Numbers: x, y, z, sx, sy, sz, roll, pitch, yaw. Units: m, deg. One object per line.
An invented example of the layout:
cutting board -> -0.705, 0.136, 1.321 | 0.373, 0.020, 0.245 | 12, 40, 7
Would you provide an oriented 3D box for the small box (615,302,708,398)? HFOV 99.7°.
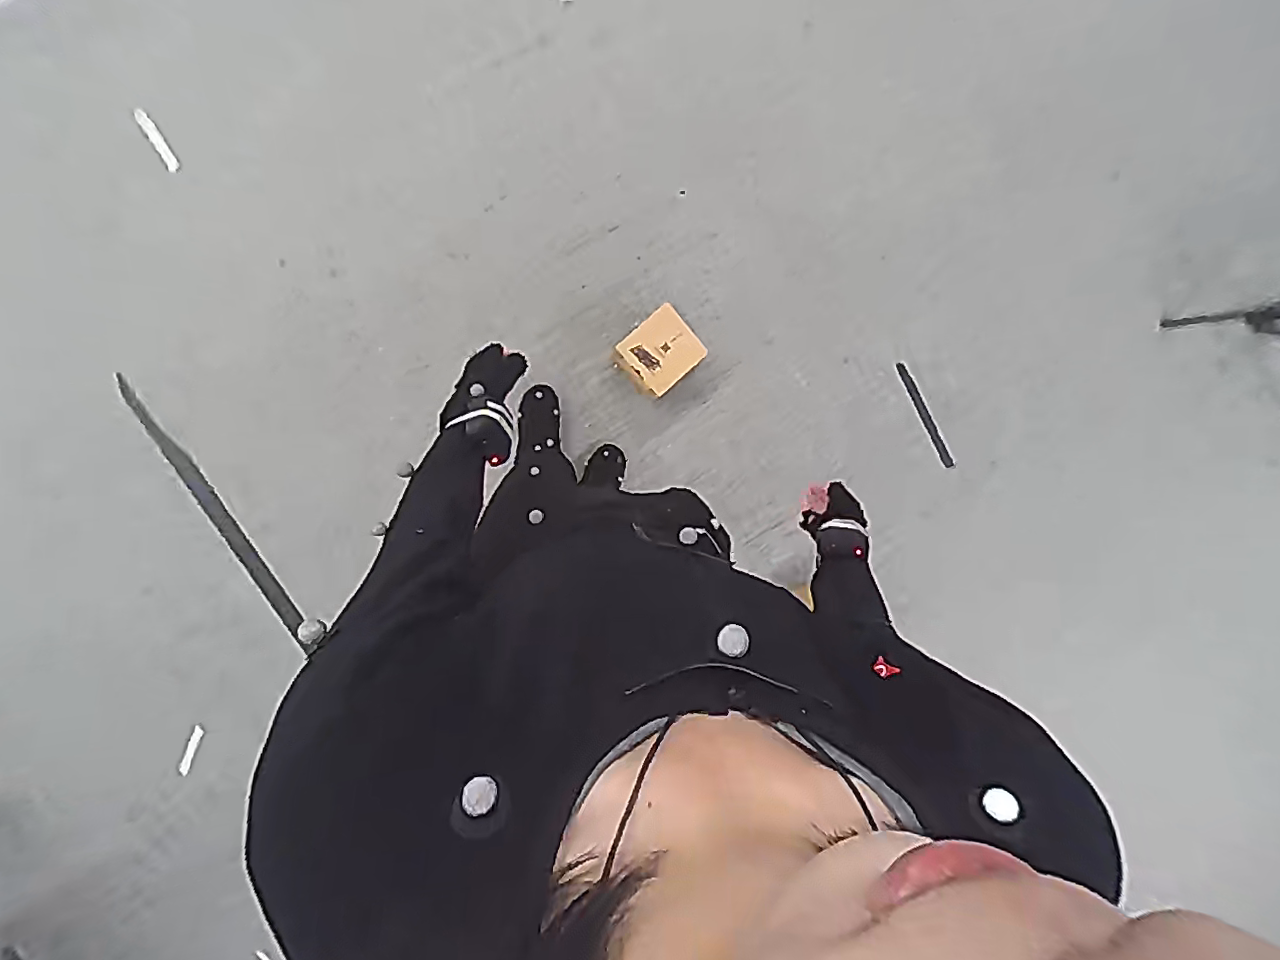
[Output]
small box -> 0.047, -0.329, 1.414 | 0.179, 0.176, 0.168 | -42, 99, -2
